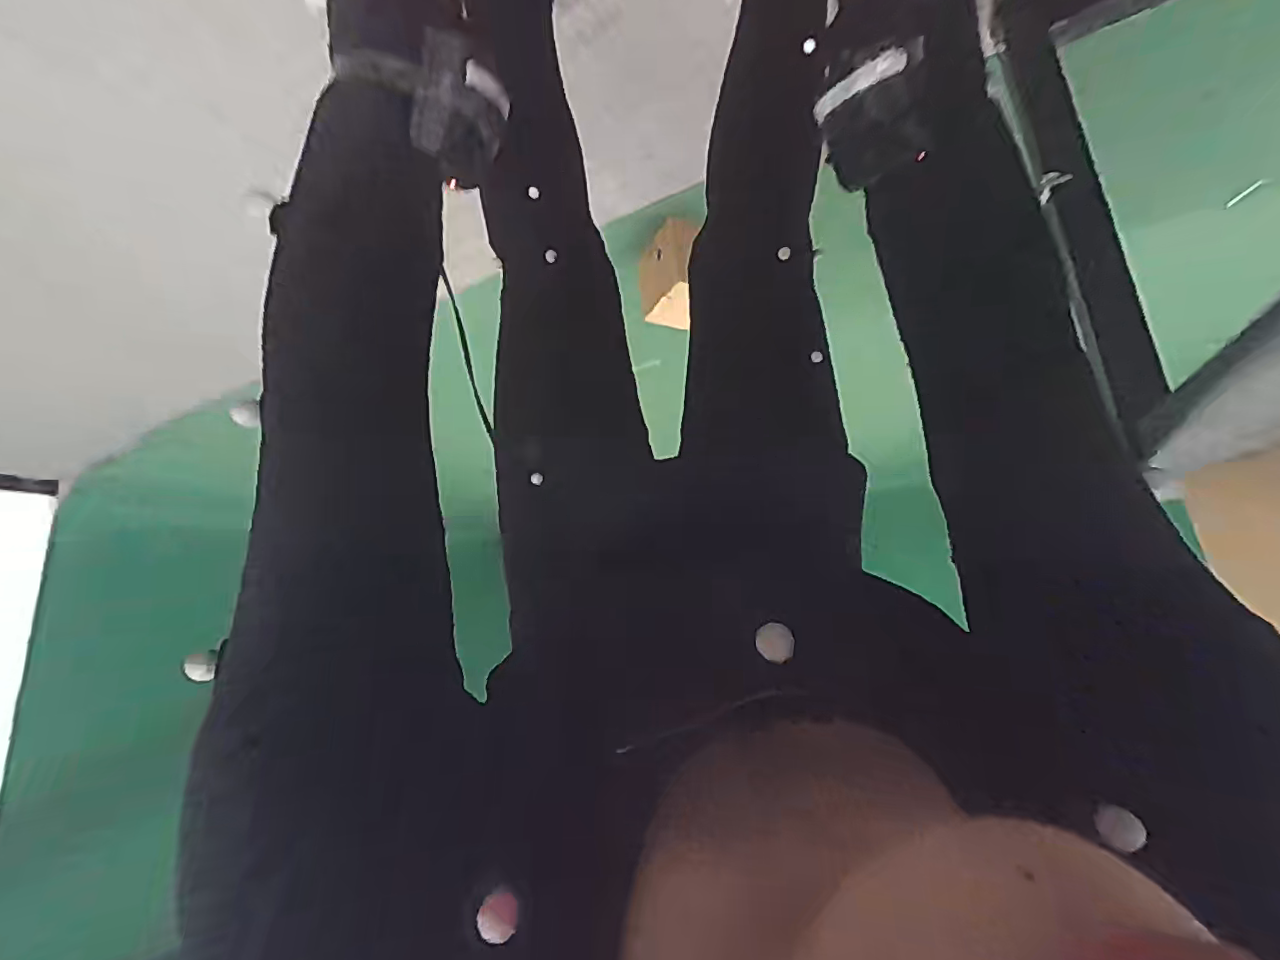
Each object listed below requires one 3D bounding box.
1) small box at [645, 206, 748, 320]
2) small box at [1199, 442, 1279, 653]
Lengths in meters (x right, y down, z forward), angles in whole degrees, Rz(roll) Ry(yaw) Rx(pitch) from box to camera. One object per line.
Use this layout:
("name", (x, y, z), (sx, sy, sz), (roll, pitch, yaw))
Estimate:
("small box", (0.124, -0.494, 1.242), (0.179, 0.176, 0.168), (3, 165, -26))
("small box", (0.592, 0.036, 0.402), (0.168, 0.176, 0.179), (-8, 165, 6))
